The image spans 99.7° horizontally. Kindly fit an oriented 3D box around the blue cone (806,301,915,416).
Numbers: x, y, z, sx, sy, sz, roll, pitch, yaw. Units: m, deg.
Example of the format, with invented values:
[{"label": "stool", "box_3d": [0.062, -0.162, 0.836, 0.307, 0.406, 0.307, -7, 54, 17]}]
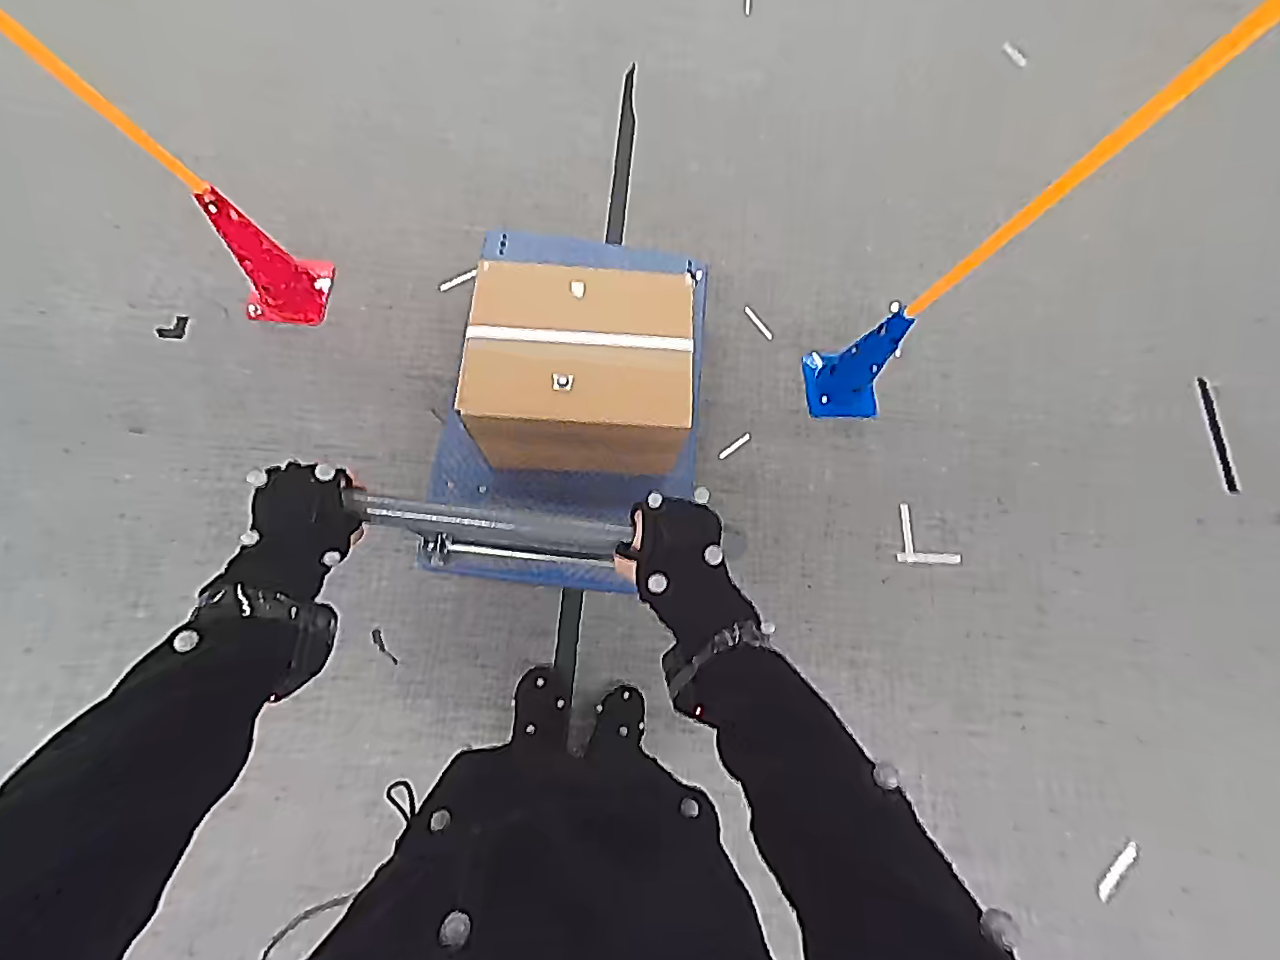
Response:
[{"label": "blue cone", "box_3d": [0.586, -0.320, 1.382, 0.193, 0.380, 0.192, 1, 72, -5]}]
